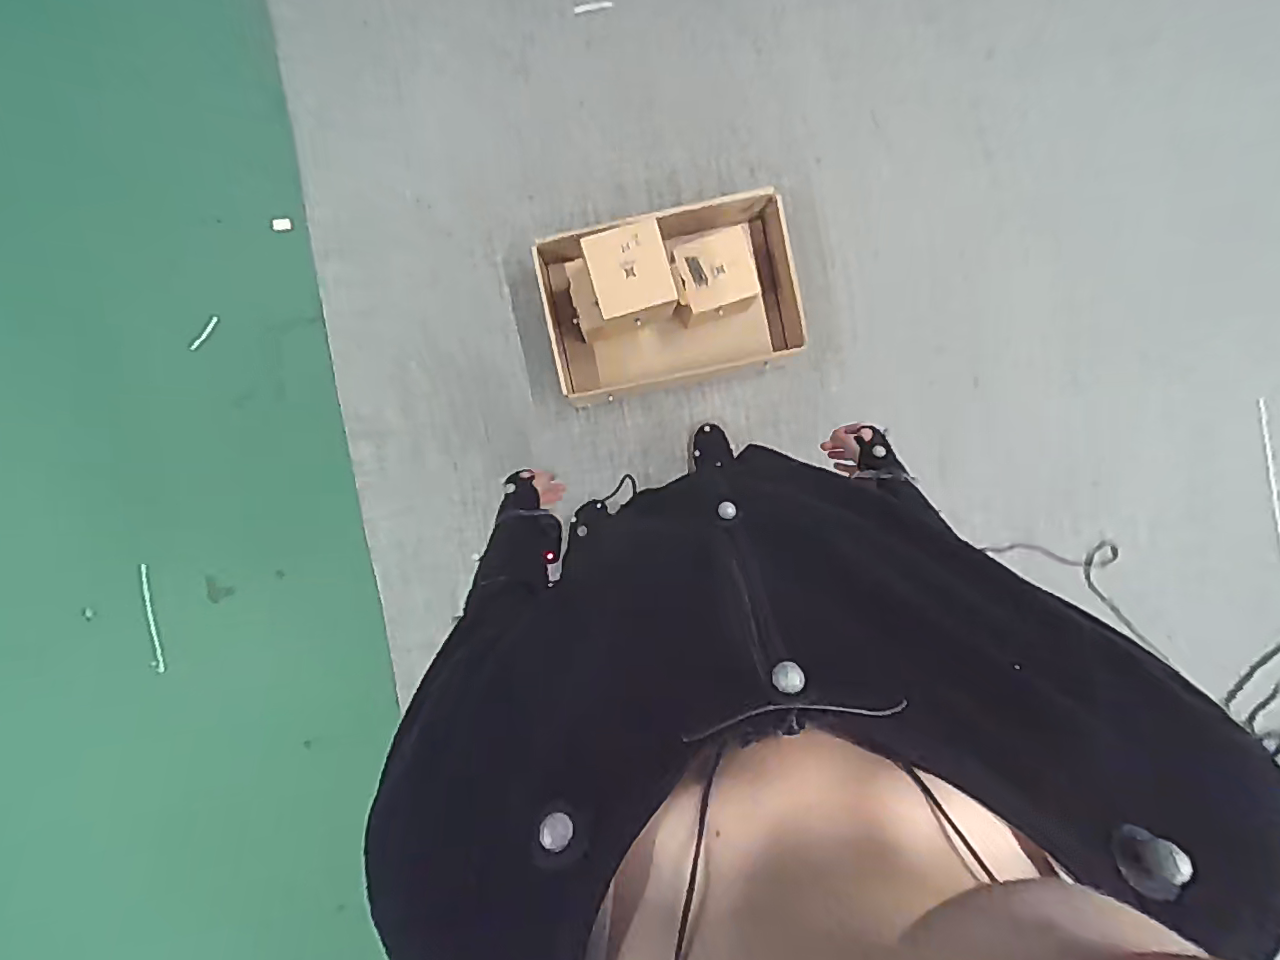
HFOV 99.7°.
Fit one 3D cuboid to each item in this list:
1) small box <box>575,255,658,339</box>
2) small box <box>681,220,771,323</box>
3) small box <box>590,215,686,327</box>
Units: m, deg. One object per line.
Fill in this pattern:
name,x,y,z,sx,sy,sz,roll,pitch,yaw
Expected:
small box,-0.052,-0.468,1.366,0.179,0.176,0.168,-15,94,1
small box,0.208,-0.512,1.356,0.179,0.176,0.168,-18,93,3
small box,-0.003,-0.452,1.203,0.168,0.176,0.179,-17,94,0
